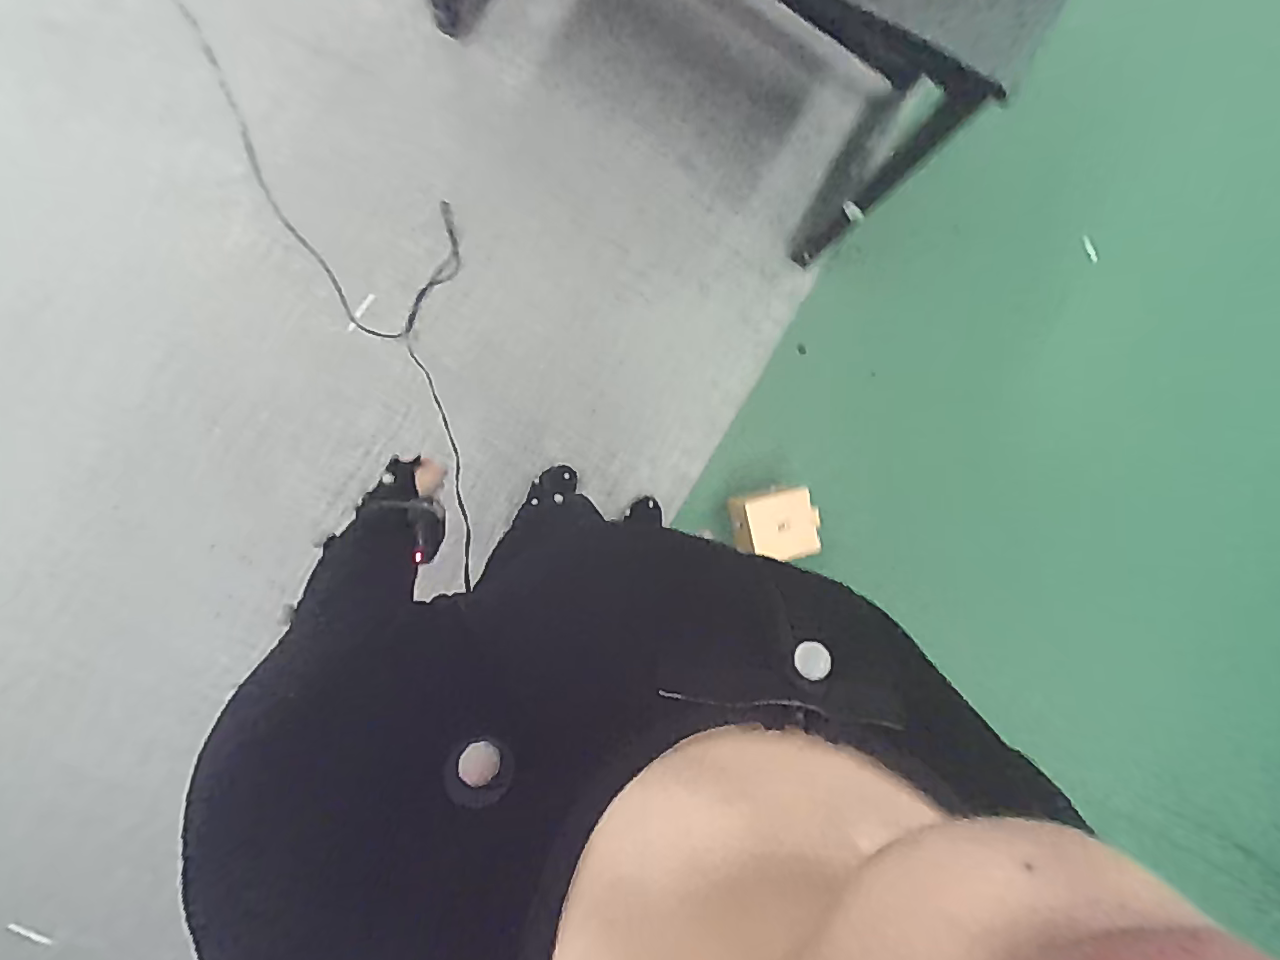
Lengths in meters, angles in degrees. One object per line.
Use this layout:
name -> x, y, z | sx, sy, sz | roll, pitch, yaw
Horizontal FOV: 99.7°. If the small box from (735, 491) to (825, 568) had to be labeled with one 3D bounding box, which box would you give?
small box -> 0.364, 0.128, 1.444 | 0.179, 0.176, 0.168 | -13, 92, -6
